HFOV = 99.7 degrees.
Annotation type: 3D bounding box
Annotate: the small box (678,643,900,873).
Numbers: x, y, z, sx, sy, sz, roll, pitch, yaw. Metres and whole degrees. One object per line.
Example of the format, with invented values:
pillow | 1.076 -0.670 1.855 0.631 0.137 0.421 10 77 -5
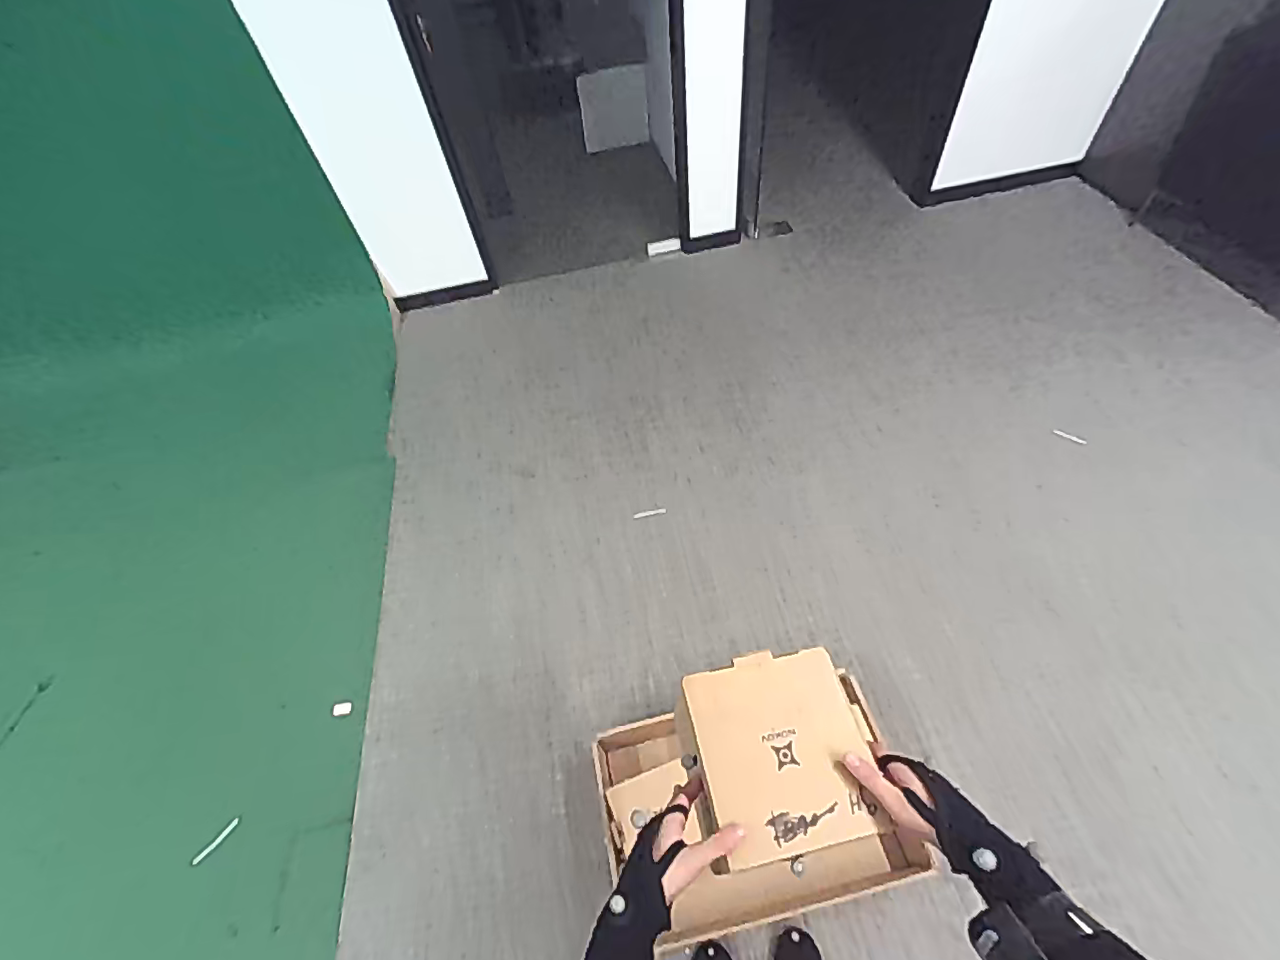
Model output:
small box | 0.140 0.306 0.593 0.168 0.176 0.179 -10 53 -6
